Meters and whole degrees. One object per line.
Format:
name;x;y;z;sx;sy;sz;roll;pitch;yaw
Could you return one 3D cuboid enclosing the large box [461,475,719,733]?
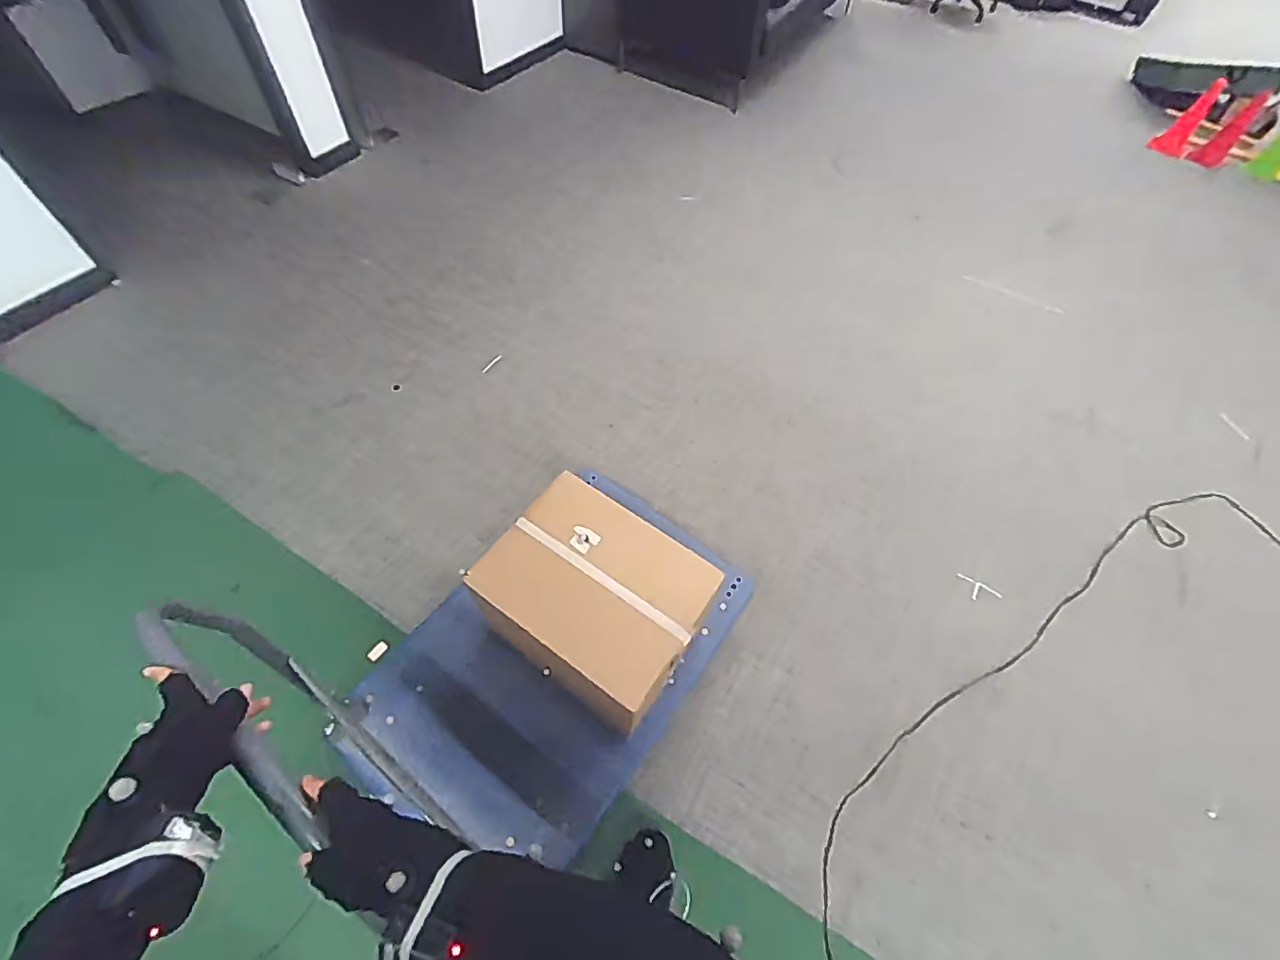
large box;-0.095;0.269;1.156;0.408;0.320;0.320;32;60;17
